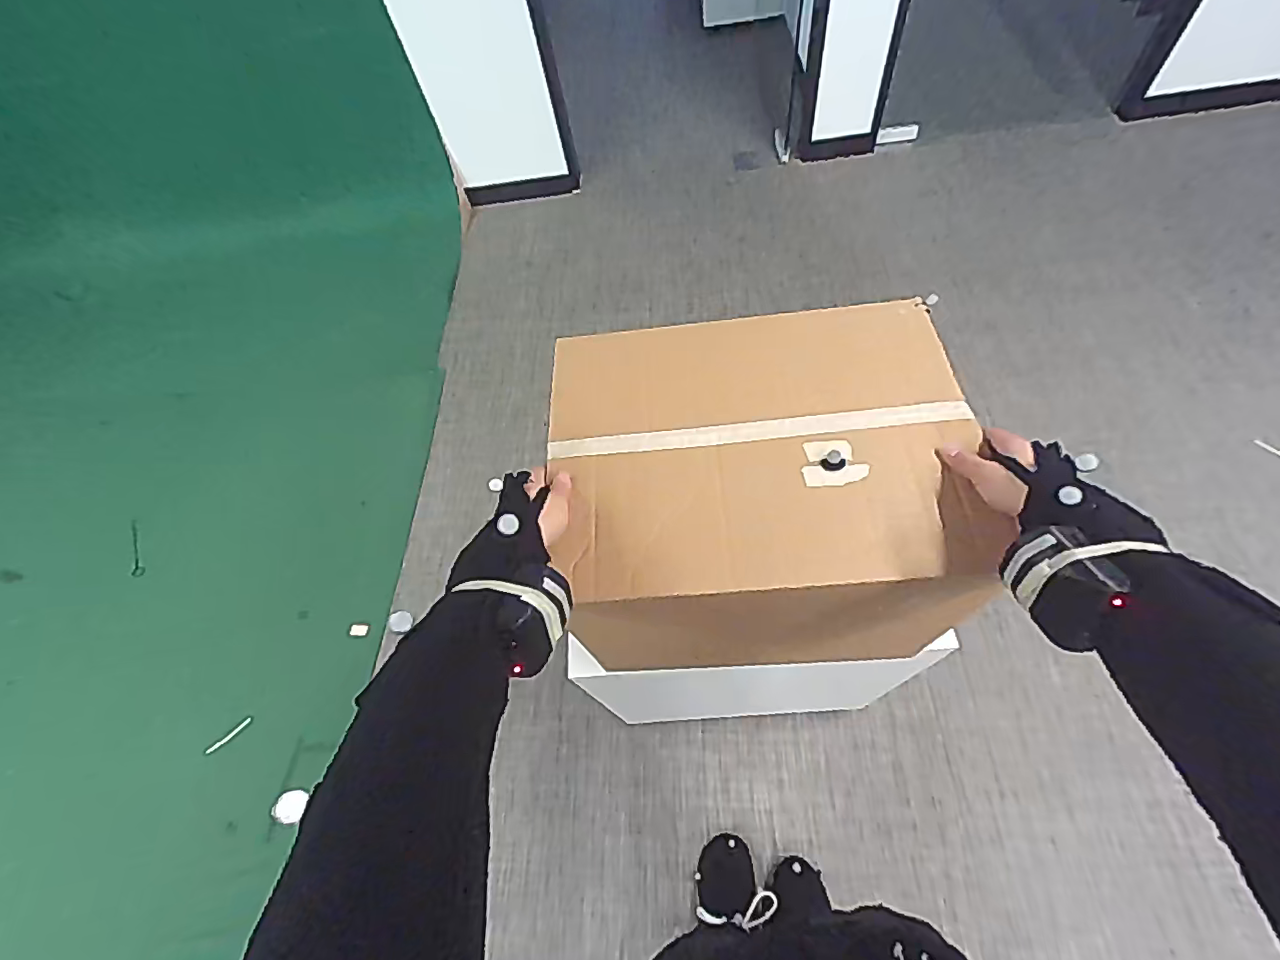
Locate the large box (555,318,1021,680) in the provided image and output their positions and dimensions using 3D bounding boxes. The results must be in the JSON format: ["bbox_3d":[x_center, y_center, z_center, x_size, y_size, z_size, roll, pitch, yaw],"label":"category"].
[{"bbox_3d":[0.128,0.044,0.662,0.408,0.320,0.320,-5,59,4],"label":"large box"}]
